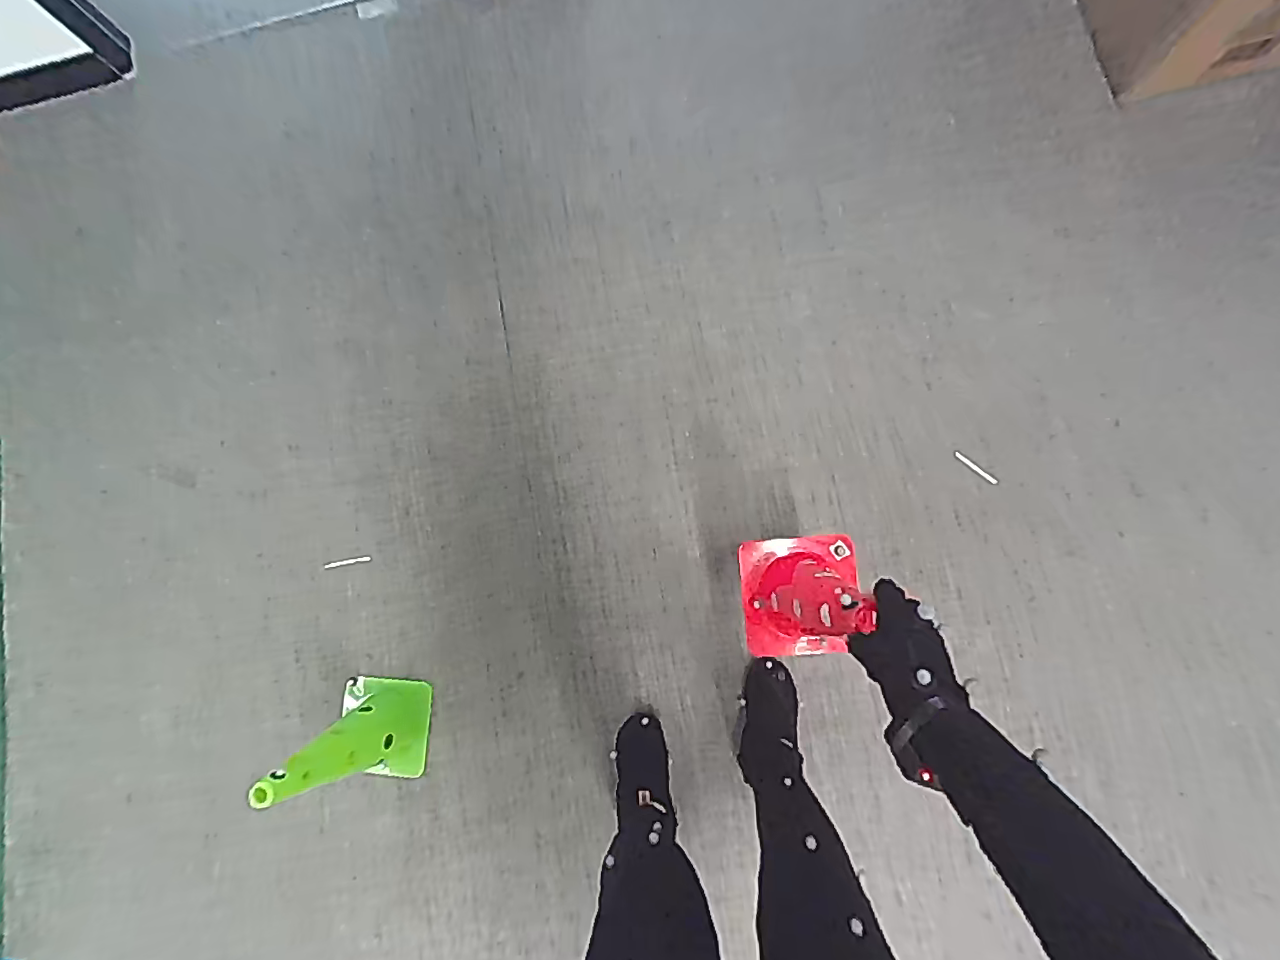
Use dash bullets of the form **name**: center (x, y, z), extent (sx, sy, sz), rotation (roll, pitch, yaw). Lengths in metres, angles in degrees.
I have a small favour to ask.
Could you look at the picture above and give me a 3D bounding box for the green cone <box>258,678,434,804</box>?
- **green cone**: center (-0.575, 0.521, 1.028), extent (0.202, 0.368, 0.200), rotation (2, 82, 5)
